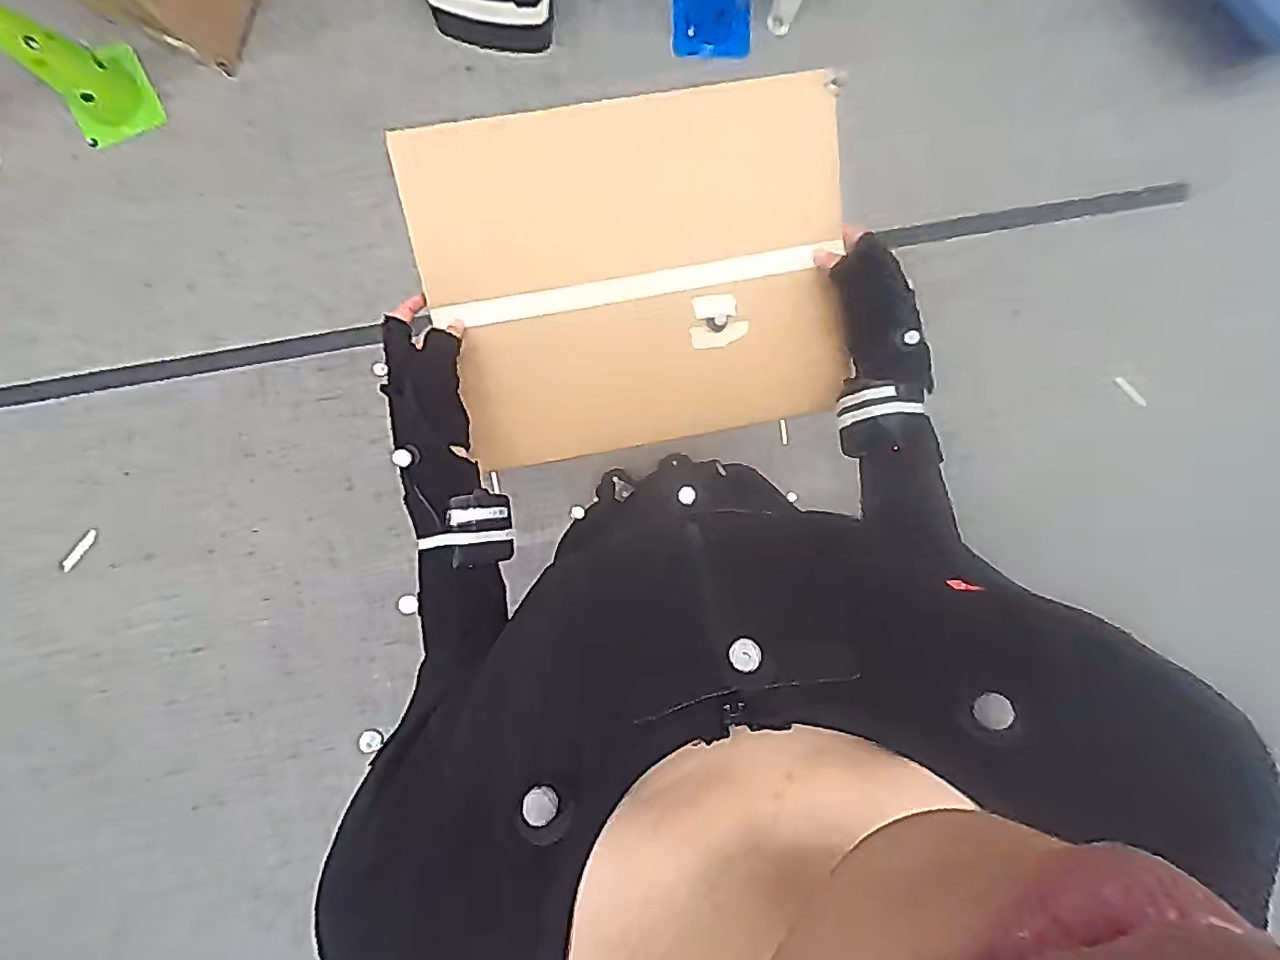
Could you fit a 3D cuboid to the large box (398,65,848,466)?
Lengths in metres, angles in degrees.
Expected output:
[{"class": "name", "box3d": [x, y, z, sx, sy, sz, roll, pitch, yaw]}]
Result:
[{"class": "large box", "box3d": [-0.014, -0.236, 0.671, 0.408, 0.320, 0.320, -12, 107, -4]}]
